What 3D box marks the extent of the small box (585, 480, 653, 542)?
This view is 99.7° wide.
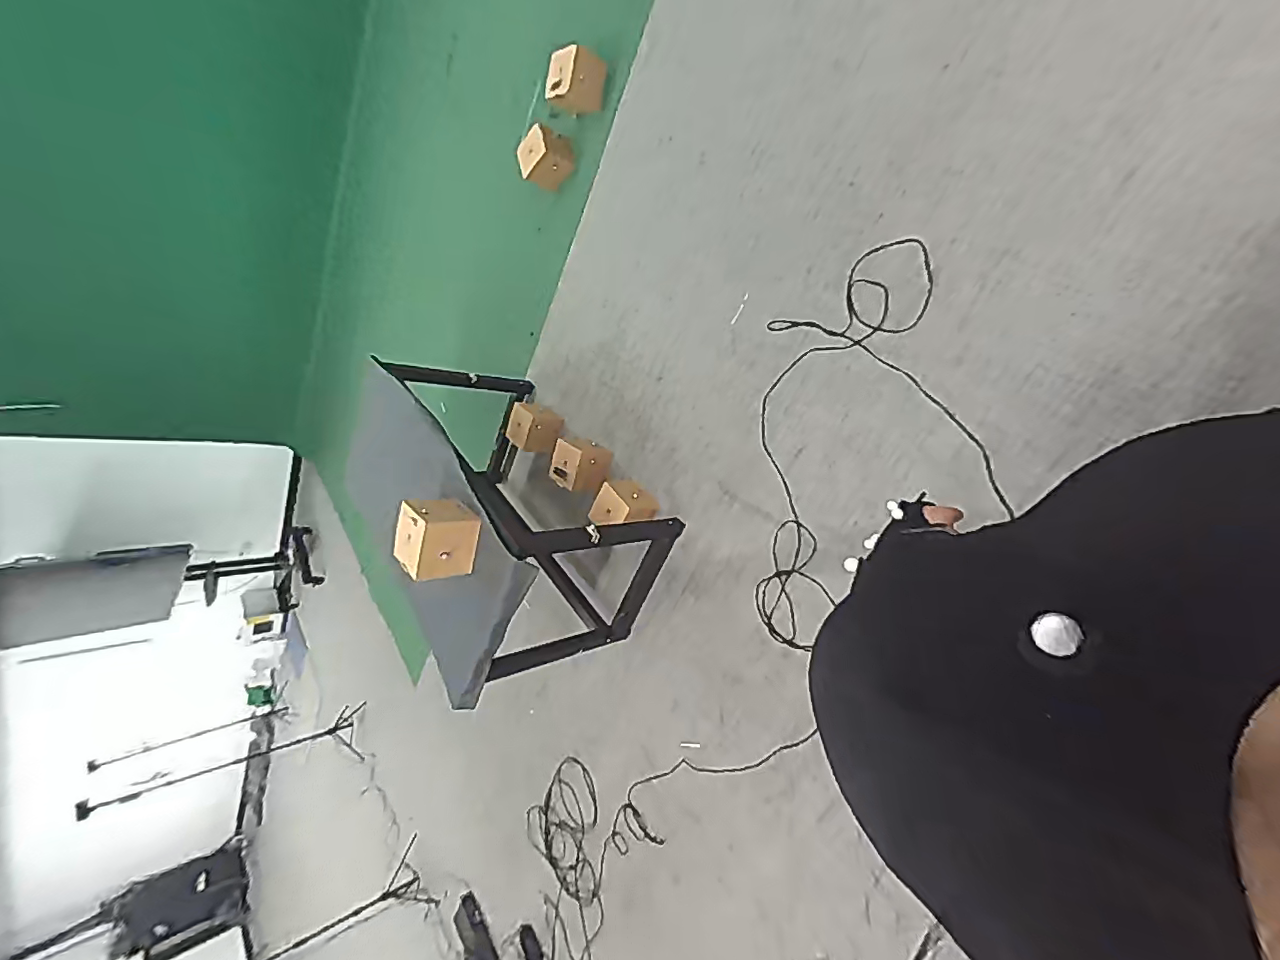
[{"bbox_3d":[-0.073,0.113,2.069,0.168,0.176,0.179,46,121,32],"label":"small box"}]

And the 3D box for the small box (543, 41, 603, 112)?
[{"bbox_3d":[-0.272,-1.641,2.214,0.168,0.176,0.179,24,106,40],"label":"small box"}]

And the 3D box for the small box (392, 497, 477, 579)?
[{"bbox_3d":[-0.587,0.159,1.549,0.168,0.176,0.179,28,109,40],"label":"small box"}]

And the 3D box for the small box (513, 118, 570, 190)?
[{"bbox_3d":[-0.425,-1.419,2.364,0.179,0.176,0.168,-29,71,41],"label":"small box"}]

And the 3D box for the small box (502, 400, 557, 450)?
[{"bbox_3d":[-0.498,-0.248,2.458,0.168,0.176,0.179,37,115,37],"label":"small box"}]
